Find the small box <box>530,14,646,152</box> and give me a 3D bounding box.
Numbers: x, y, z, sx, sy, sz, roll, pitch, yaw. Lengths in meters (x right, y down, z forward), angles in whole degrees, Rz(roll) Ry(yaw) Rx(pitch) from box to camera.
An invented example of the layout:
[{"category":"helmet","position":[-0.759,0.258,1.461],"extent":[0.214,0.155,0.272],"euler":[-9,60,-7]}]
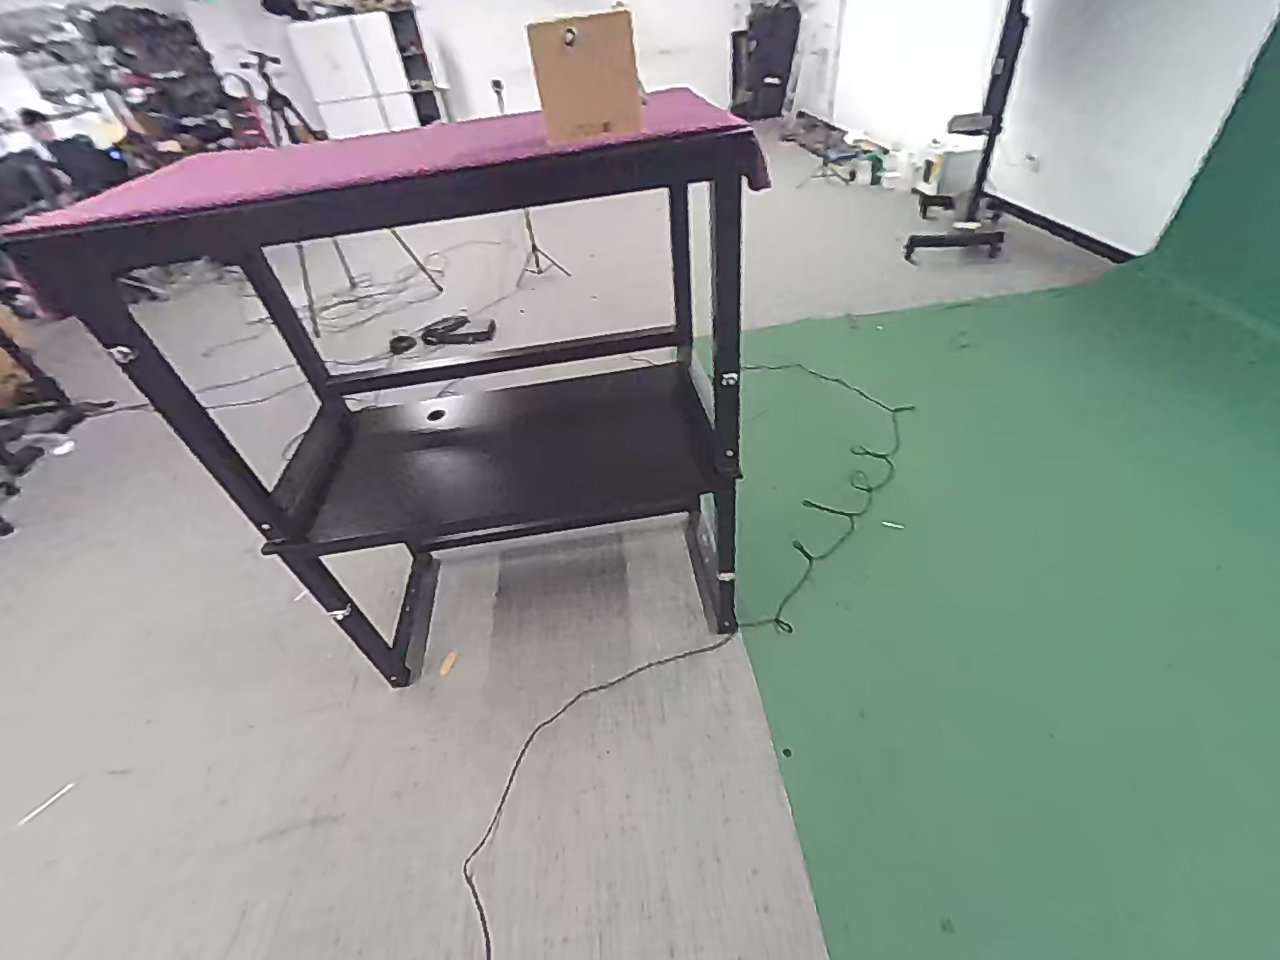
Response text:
[{"category":"small box","position":[-0.081,-0.684,0.935],"extent":[0.168,0.176,0.179],"euler":[-7,41,3]}]
